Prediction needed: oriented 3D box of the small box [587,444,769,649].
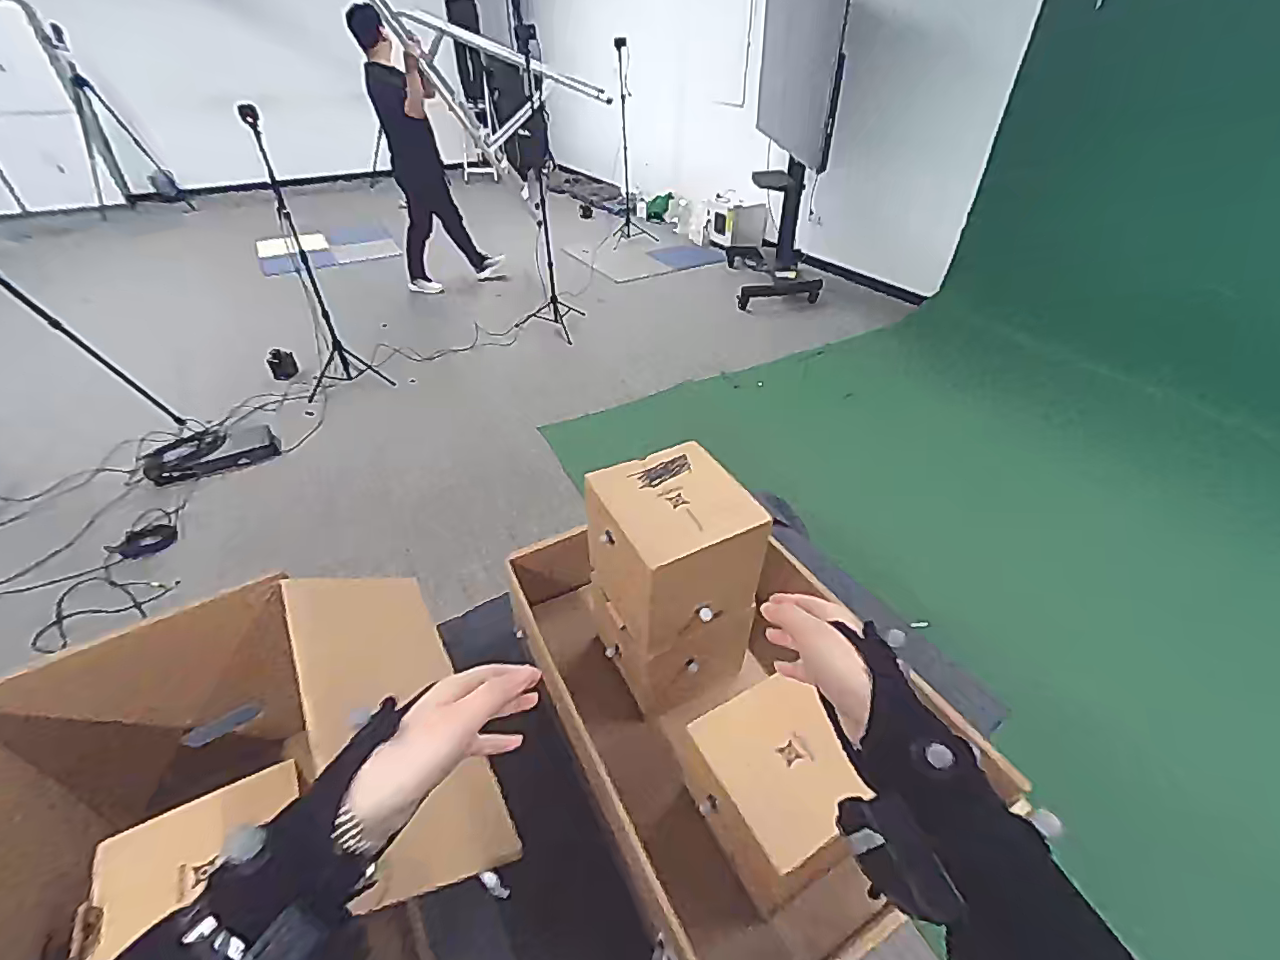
[{"bbox_3d":[0.039,0.084,0.710,0.168,0.176,0.179,-19,46,-21],"label":"small box"}]
